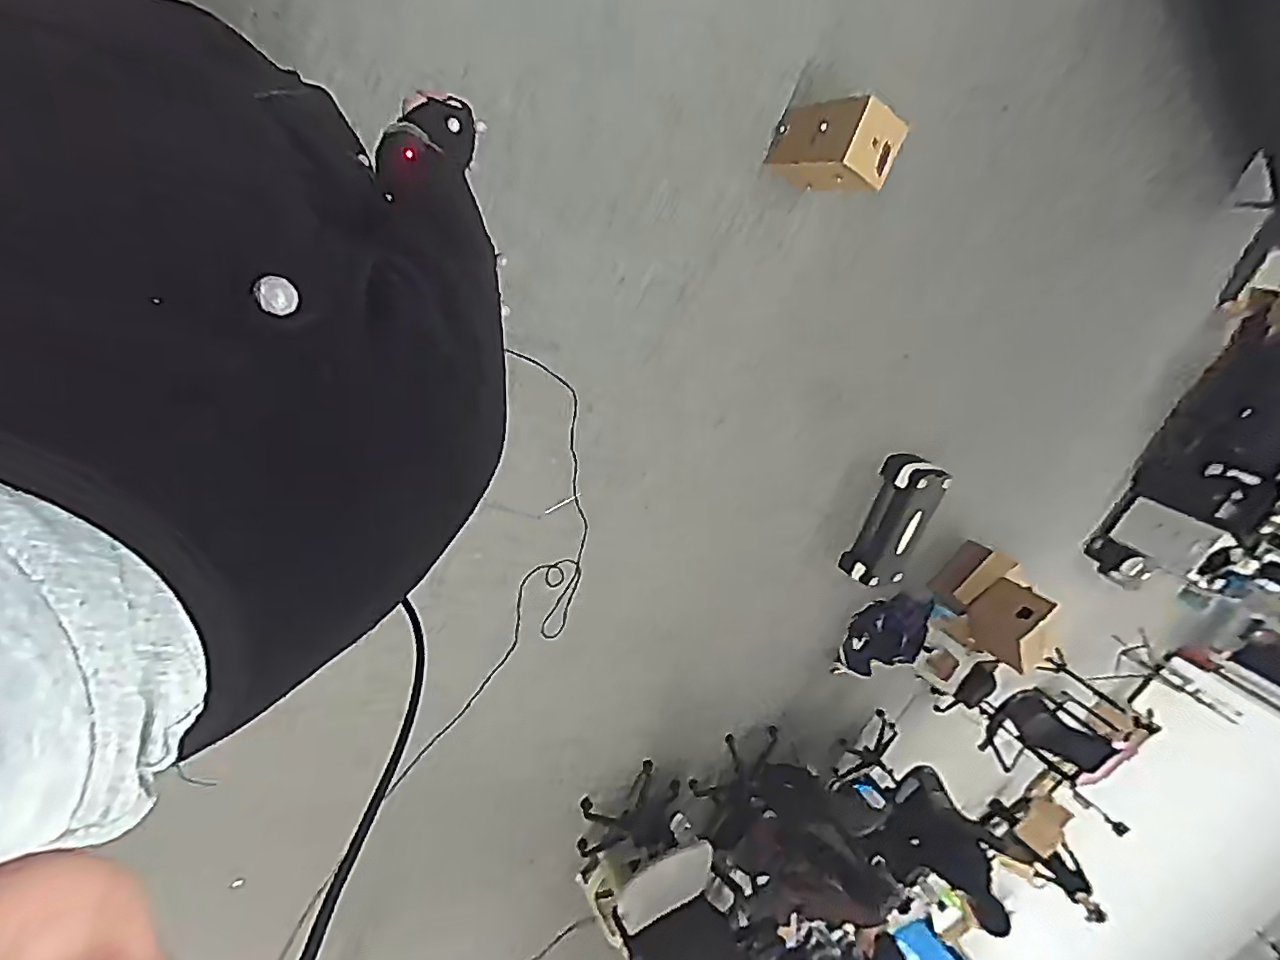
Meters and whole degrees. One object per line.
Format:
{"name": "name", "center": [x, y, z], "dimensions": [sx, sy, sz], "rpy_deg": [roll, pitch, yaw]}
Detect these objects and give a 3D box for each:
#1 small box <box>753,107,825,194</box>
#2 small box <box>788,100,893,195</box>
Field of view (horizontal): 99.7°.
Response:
{"name": "small box", "center": [0.476, -0.985, 1.627], "dimensions": [0.179, 0.176, 0.168], "rpy_deg": [10, 110, -34]}
{"name": "small box", "center": [0.550, -0.915, 1.497], "dimensions": [0.179, 0.176, 0.168], "rpy_deg": [9, 110, -35]}
